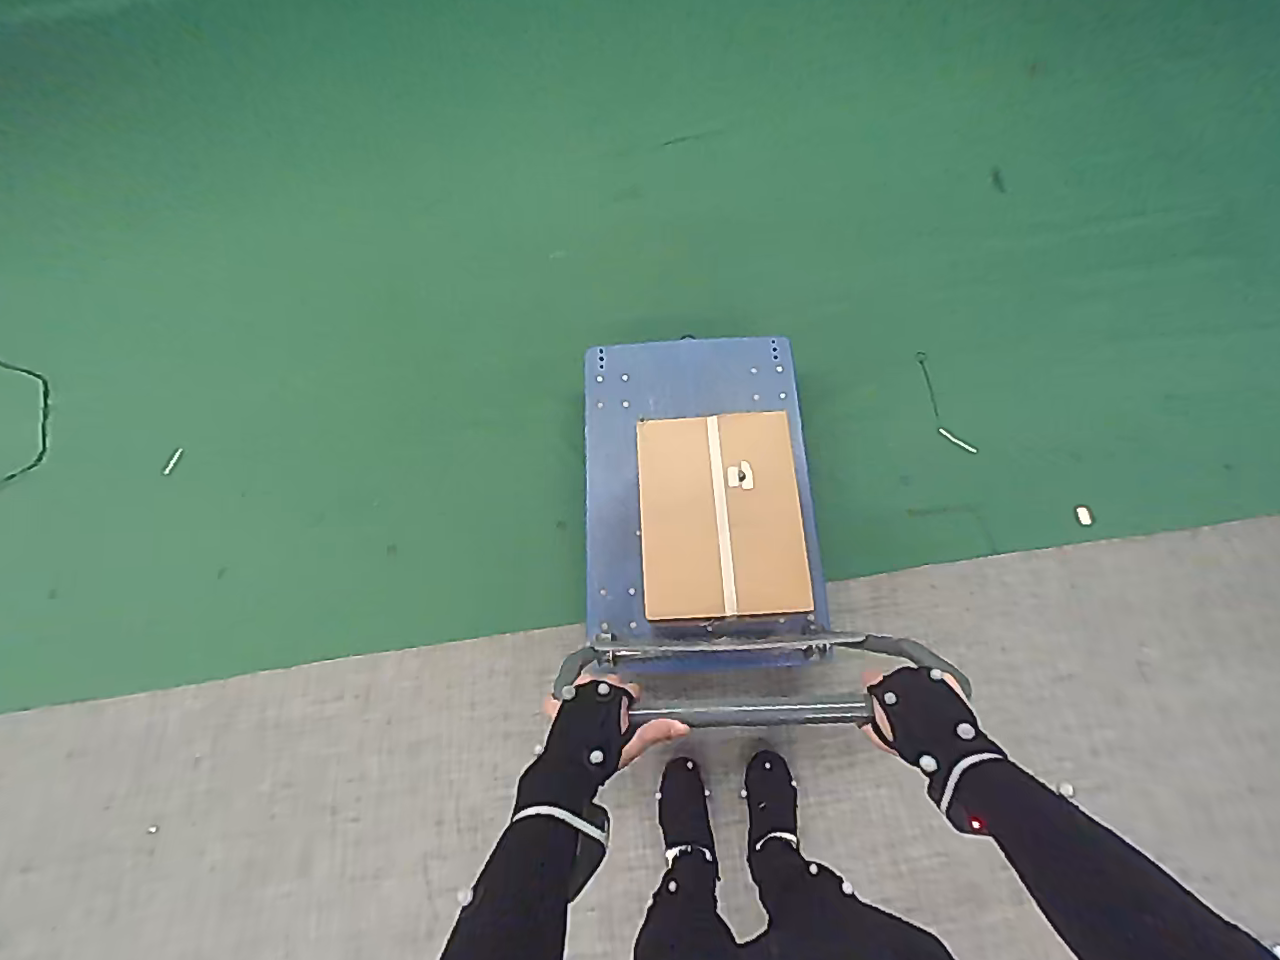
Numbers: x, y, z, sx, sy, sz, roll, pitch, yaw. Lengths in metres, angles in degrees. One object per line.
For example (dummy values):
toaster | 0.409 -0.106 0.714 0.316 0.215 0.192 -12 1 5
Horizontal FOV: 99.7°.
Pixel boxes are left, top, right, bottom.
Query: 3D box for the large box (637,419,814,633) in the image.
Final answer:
large box | 0.166 0.118 1.200 0.320 0.320 0.408 -3 71 1
